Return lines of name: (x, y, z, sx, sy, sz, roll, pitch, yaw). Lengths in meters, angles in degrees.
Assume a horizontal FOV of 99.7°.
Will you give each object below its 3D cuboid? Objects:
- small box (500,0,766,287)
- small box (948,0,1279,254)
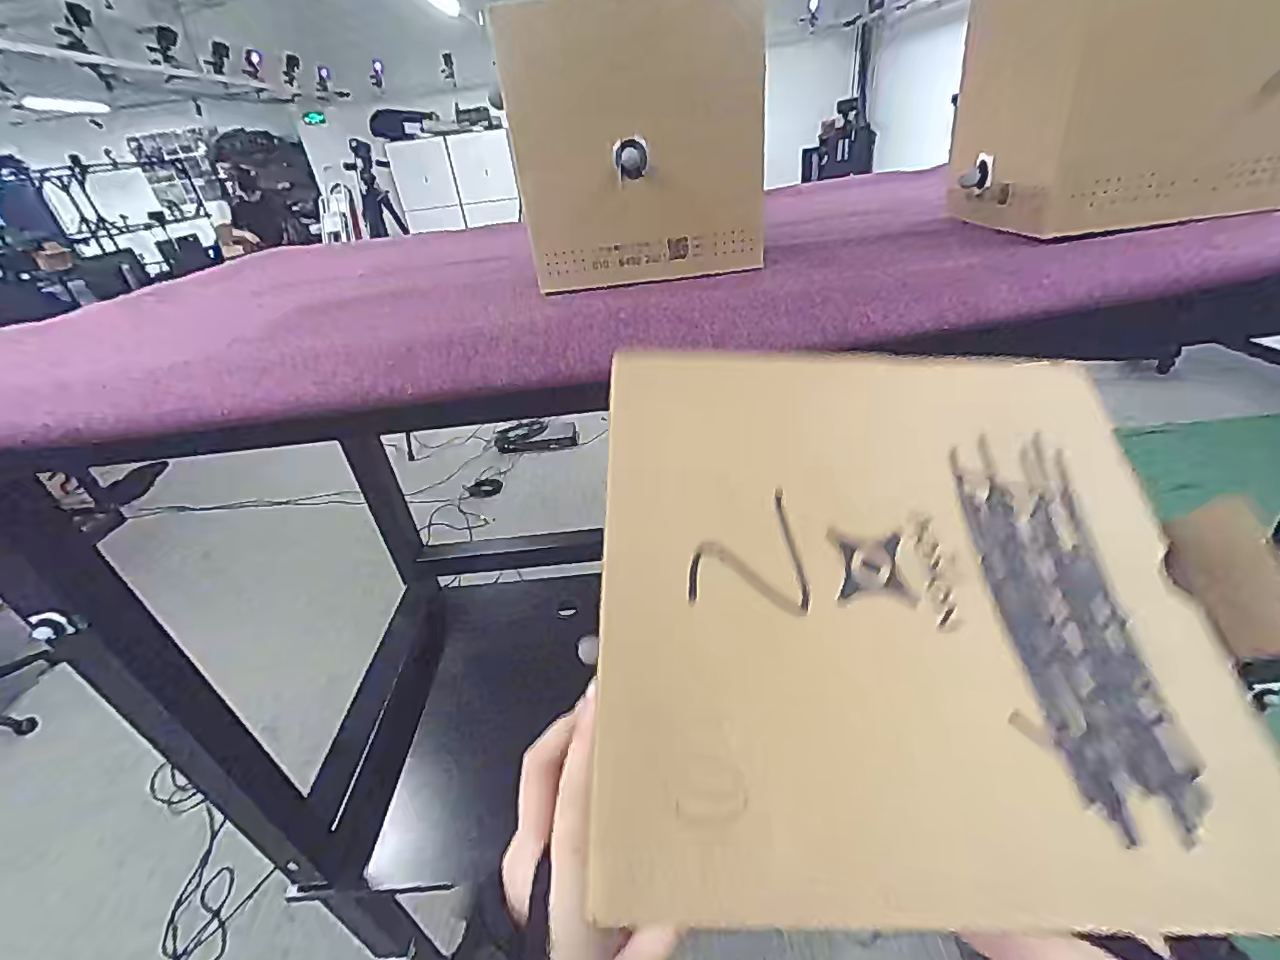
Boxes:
small box: (0.004, -0.257, 0.432, 0.168, 0.176, 0.179, -5, 31, 2)
small box: (0.351, -0.270, 0.384, 0.179, 0.176, 0.168, -5, 29, 8)
